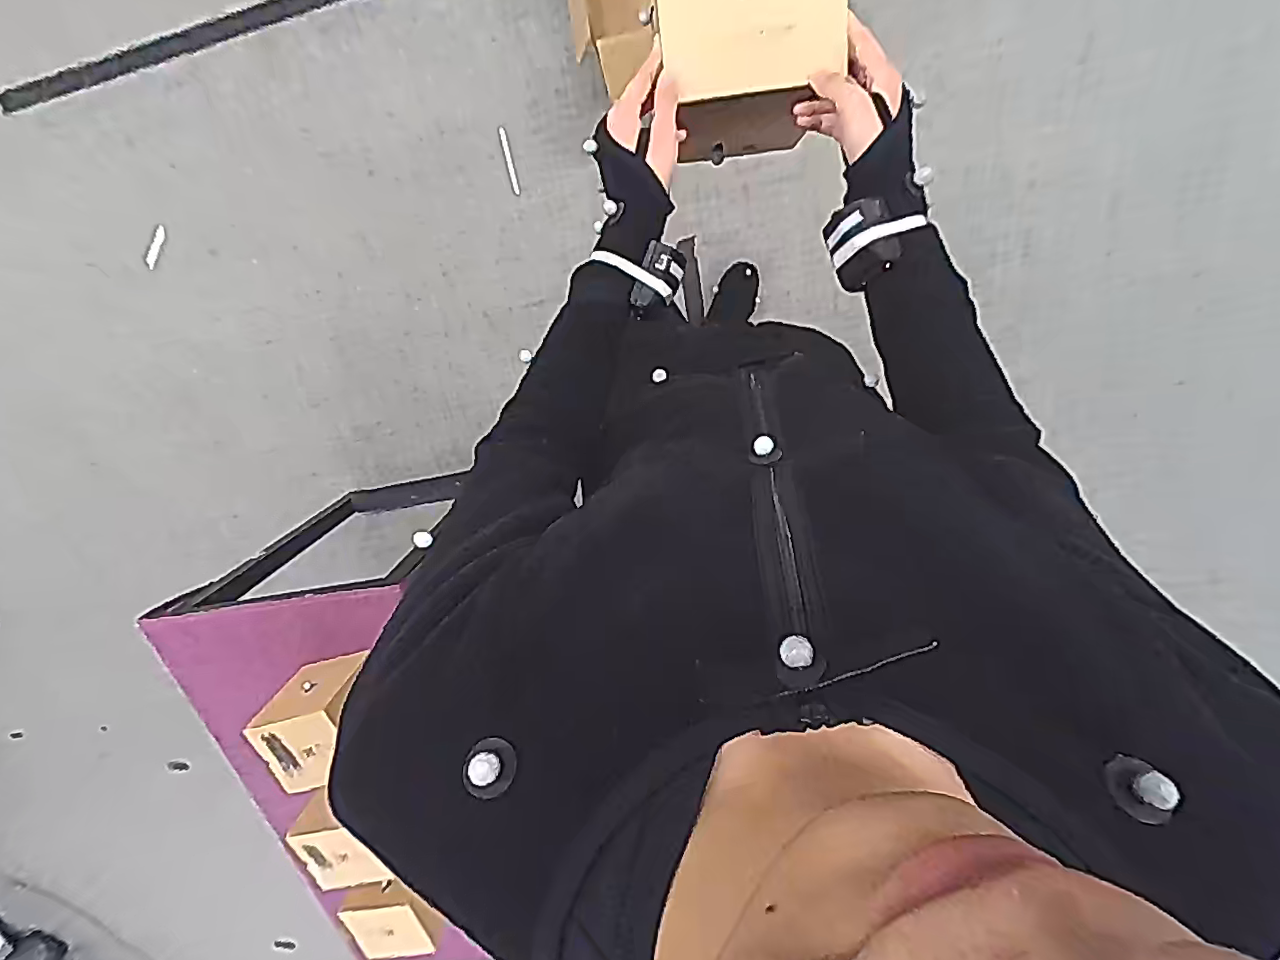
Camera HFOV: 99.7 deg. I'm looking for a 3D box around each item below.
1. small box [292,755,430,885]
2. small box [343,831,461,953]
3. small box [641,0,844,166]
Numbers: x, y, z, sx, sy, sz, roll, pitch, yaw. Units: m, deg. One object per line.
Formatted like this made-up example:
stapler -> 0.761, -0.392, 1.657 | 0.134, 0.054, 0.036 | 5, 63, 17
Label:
small box -> -0.598, 0.736, 1.182 | 0.179, 0.176, 0.168 | -15, 110, 10
small box -> -0.540, 0.956, 1.264 | 0.179, 0.176, 0.168 | -11, 110, 9
small box -> 0.092, -0.453, 0.550 | 0.168, 0.176, 0.179 | -8, 101, 1
